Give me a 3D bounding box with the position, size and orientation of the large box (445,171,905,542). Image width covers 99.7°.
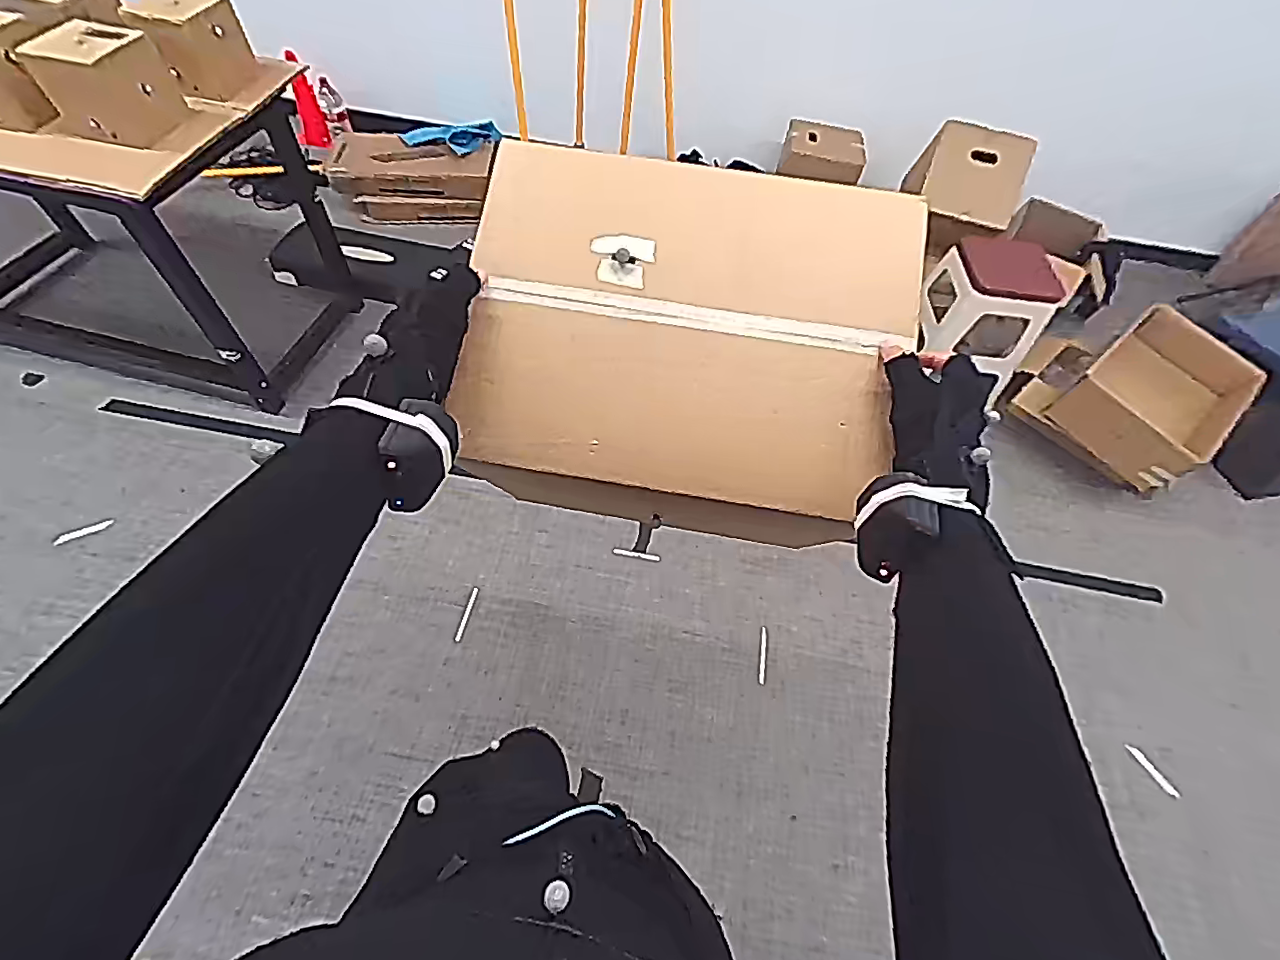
[{"bbox_3d":[0.044,-0.110,0.652,0.408,0.320,0.320,9,79,3],"label":"large box"}]
